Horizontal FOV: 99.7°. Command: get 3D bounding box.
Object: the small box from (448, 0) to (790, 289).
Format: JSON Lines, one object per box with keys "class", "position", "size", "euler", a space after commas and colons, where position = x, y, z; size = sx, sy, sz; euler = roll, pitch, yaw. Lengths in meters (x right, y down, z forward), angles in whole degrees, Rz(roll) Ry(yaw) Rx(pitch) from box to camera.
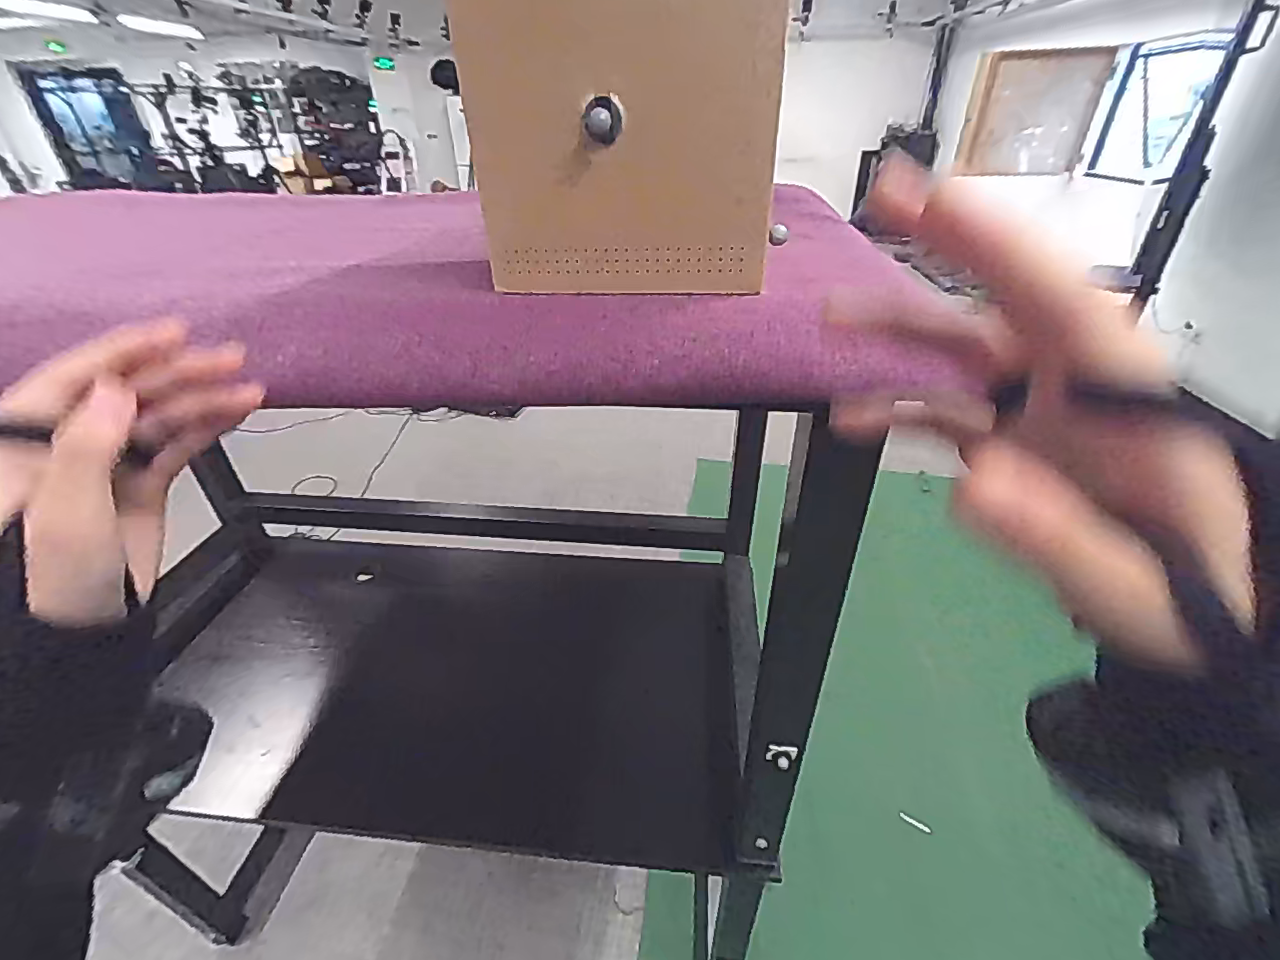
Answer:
{"class": "small box", "position": [-0.001, -0.234, 0.366], "size": [0.179, 0.176, 0.168], "euler": [2, 33, 8]}
